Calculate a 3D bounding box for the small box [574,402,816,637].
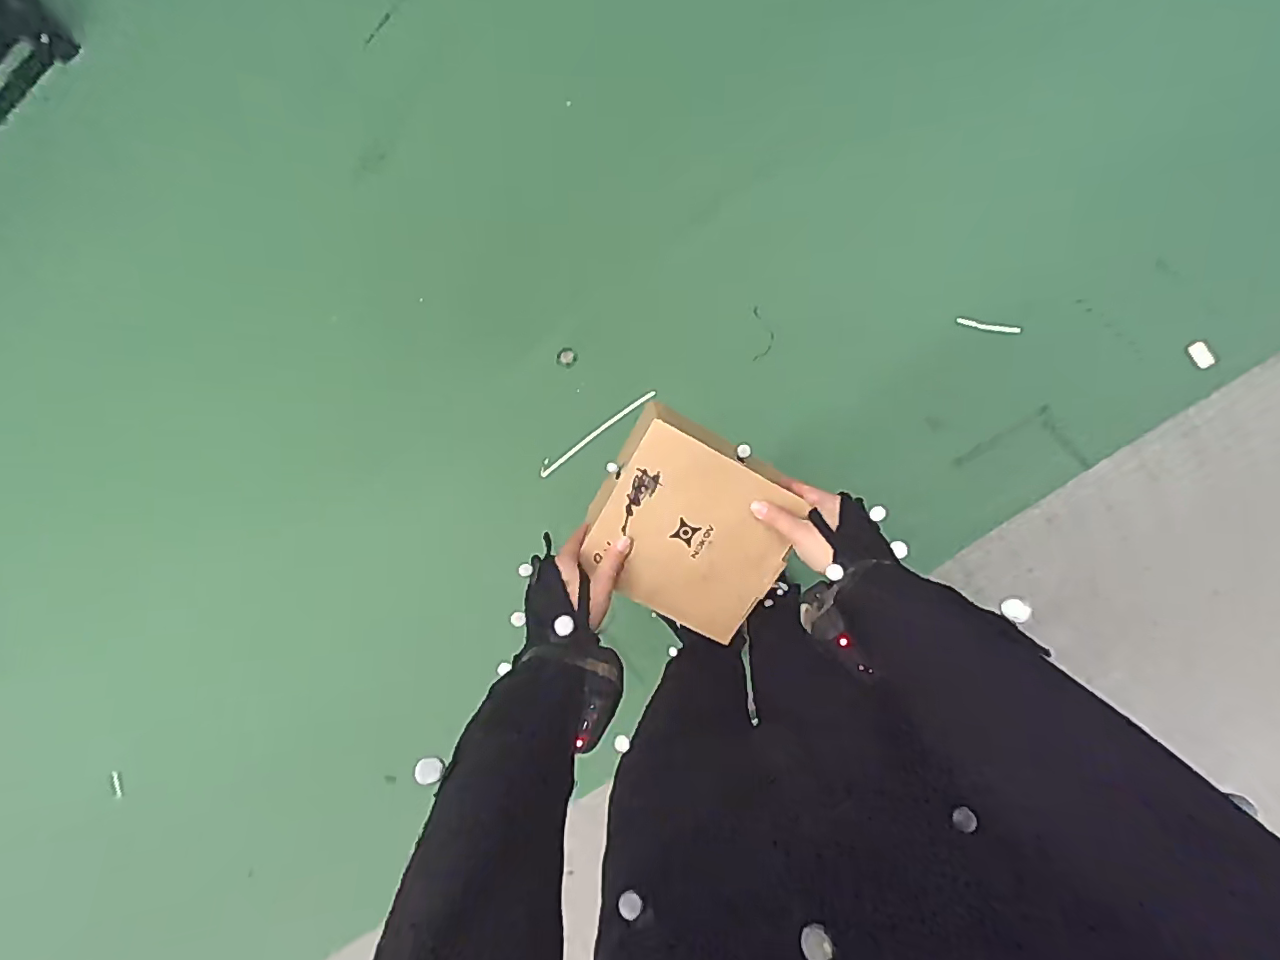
[{"bbox_3d":[0.050,0.028,0.584,0.179,0.176,0.168,29,103,-7],"label":"small box"}]
